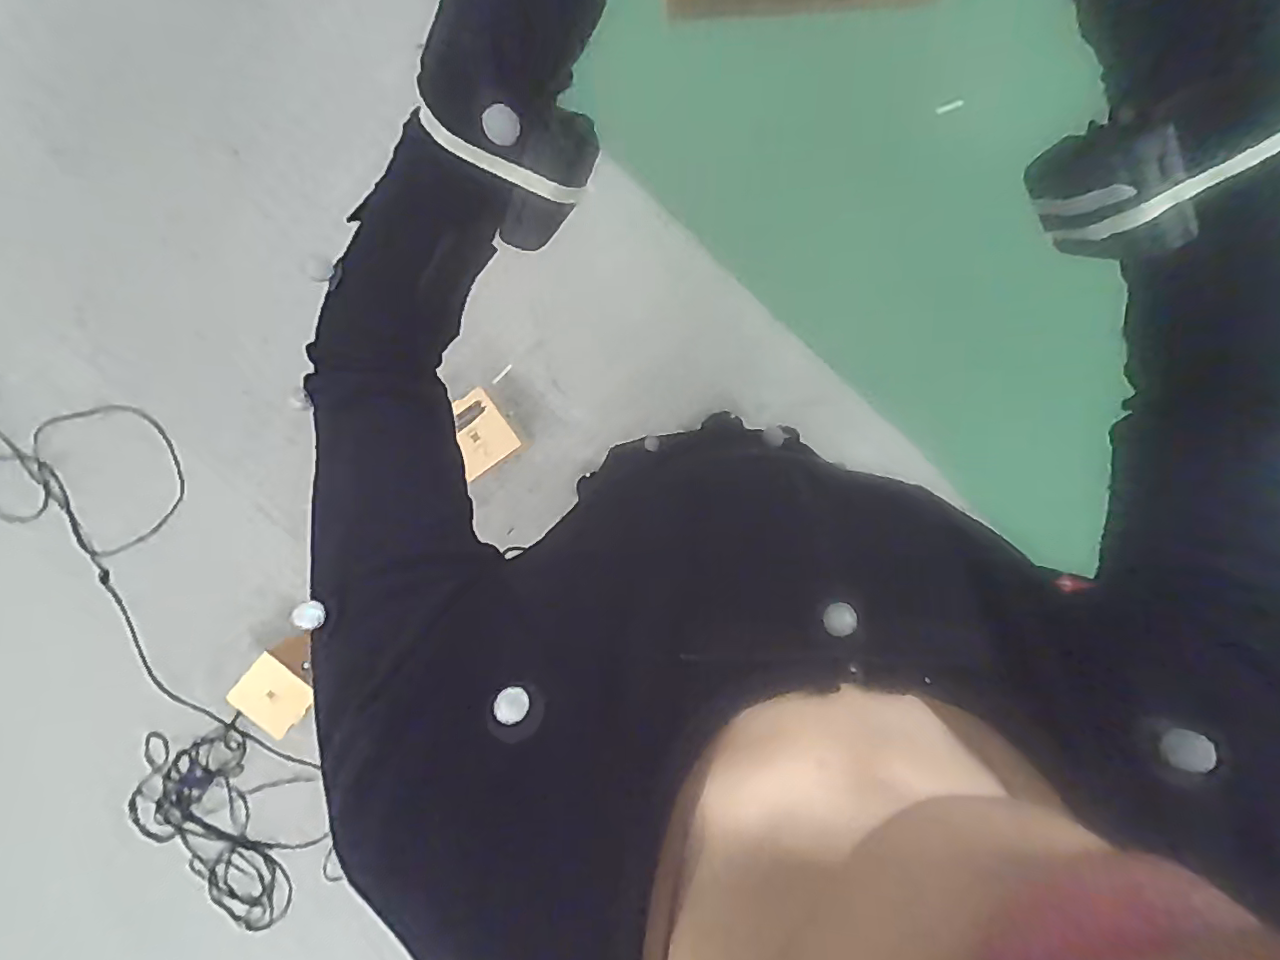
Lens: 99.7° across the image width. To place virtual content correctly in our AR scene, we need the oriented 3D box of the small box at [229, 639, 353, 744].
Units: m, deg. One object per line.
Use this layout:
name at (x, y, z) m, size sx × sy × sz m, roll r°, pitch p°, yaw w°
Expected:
small box at (-0.915, 0.546, 1.431) m, size 0.179 × 0.176 × 0.168 m, roll 41°, pitch 94°, yaw -3°
